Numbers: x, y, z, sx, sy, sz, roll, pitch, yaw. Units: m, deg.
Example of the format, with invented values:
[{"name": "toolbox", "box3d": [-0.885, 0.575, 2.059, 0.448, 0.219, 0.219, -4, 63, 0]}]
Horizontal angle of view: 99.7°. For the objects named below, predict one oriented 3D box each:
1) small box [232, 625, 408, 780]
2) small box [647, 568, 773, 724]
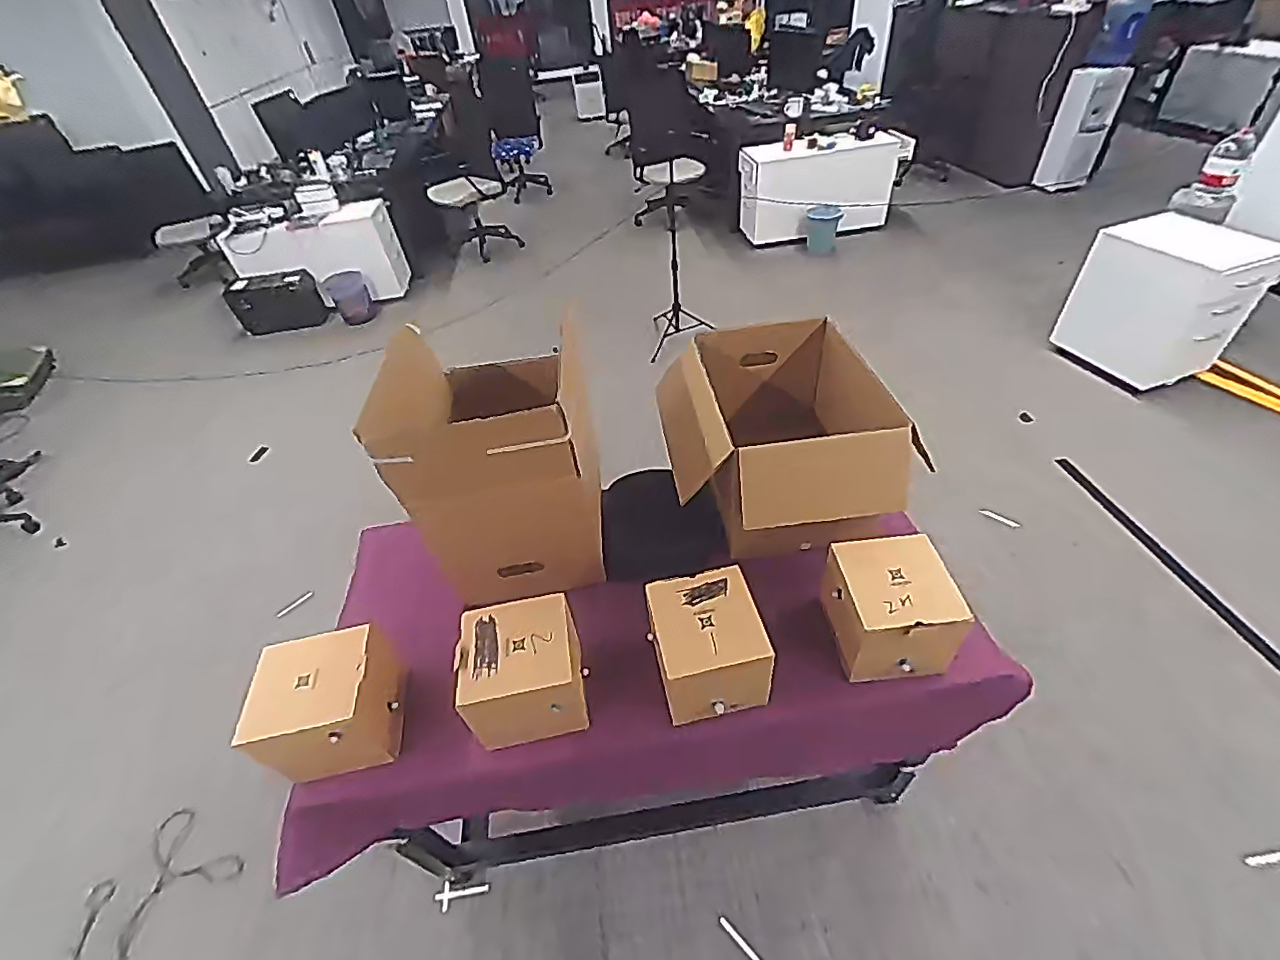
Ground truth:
[{"name": "small box", "box3d": [-0.511, 0.371, 0.895, 0.179, 0.176, 0.168, -11, 43, -6]}, {"name": "small box", "box3d": [0.111, 0.278, 0.907, 0.168, 0.176, 0.179, -11, 44, -3]}]
